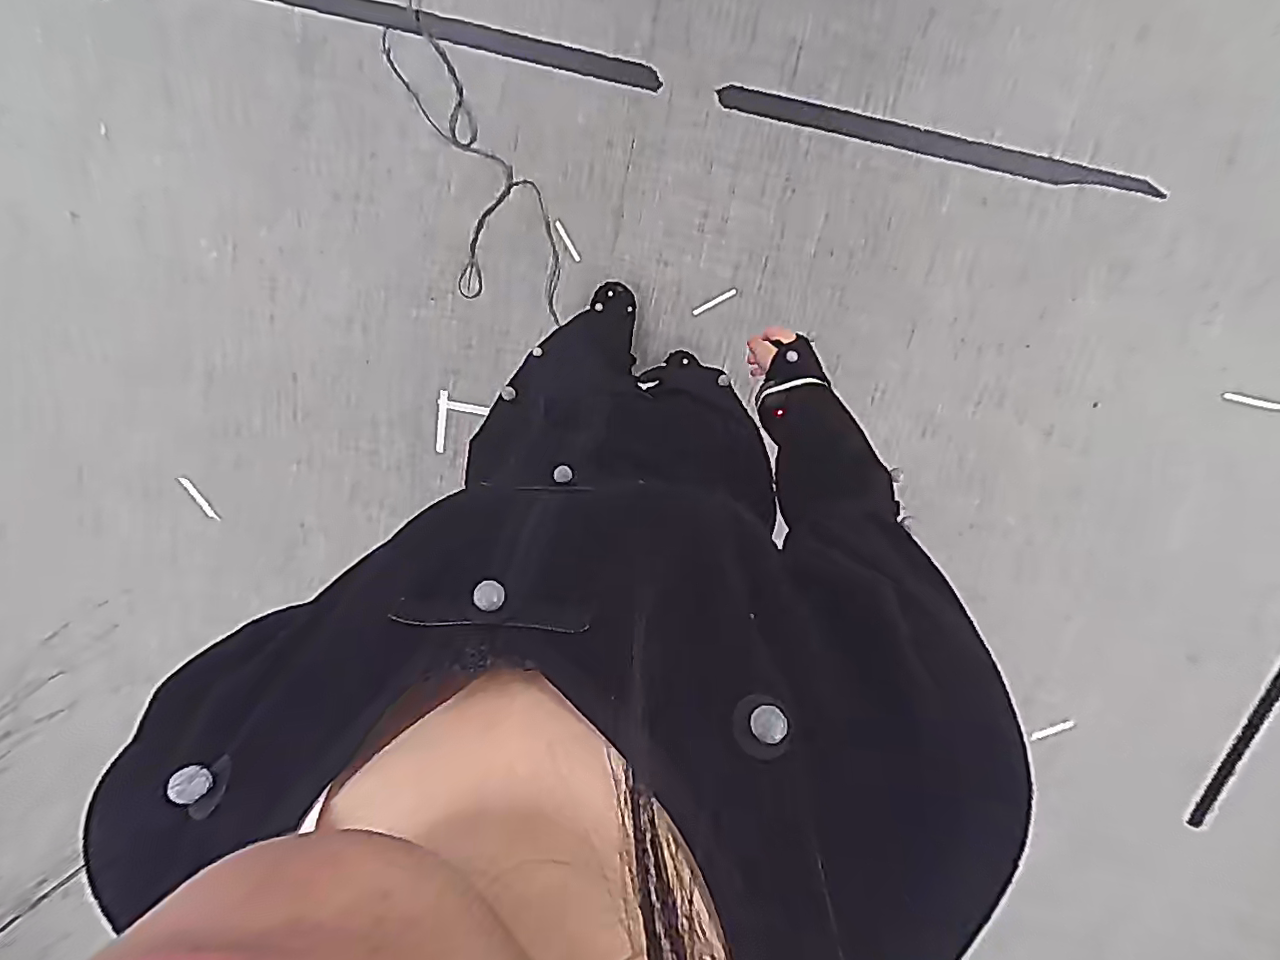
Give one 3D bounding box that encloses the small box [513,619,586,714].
[{"bbox_3d":[-0.247,0.512,1.500,0.168,0.176,0.179,7,104,1],"label":"small box"}]
